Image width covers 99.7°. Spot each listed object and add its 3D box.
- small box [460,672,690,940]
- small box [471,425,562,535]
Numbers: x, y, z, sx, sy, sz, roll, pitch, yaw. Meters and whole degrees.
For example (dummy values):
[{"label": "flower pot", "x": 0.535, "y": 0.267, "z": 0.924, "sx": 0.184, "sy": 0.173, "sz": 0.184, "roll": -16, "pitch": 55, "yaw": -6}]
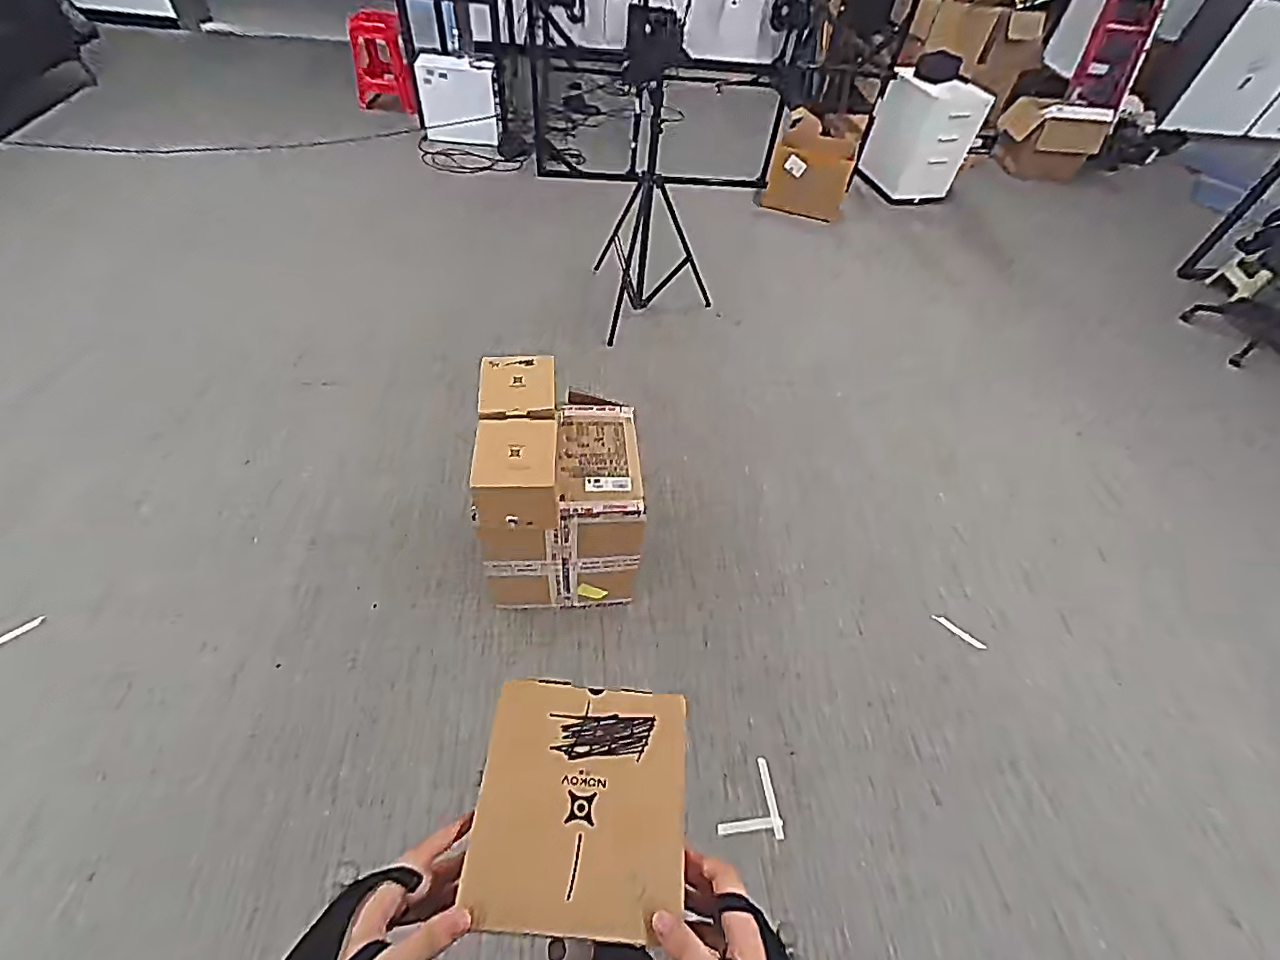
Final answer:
[{"label": "small box", "x": -0.051, "y": 0.300, "z": 0.495, "sx": 0.168, "sy": 0.176, "sz": 0.179, "roll": 7, "pitch": 50, "yaw": -3}, {"label": "small box", "x": -0.255, "y": 0.001, "z": 1.154, "sx": 0.168, "sy": 0.176, "sz": 0.179, "roll": -1, "pitch": 55, "yaw": -5}]
